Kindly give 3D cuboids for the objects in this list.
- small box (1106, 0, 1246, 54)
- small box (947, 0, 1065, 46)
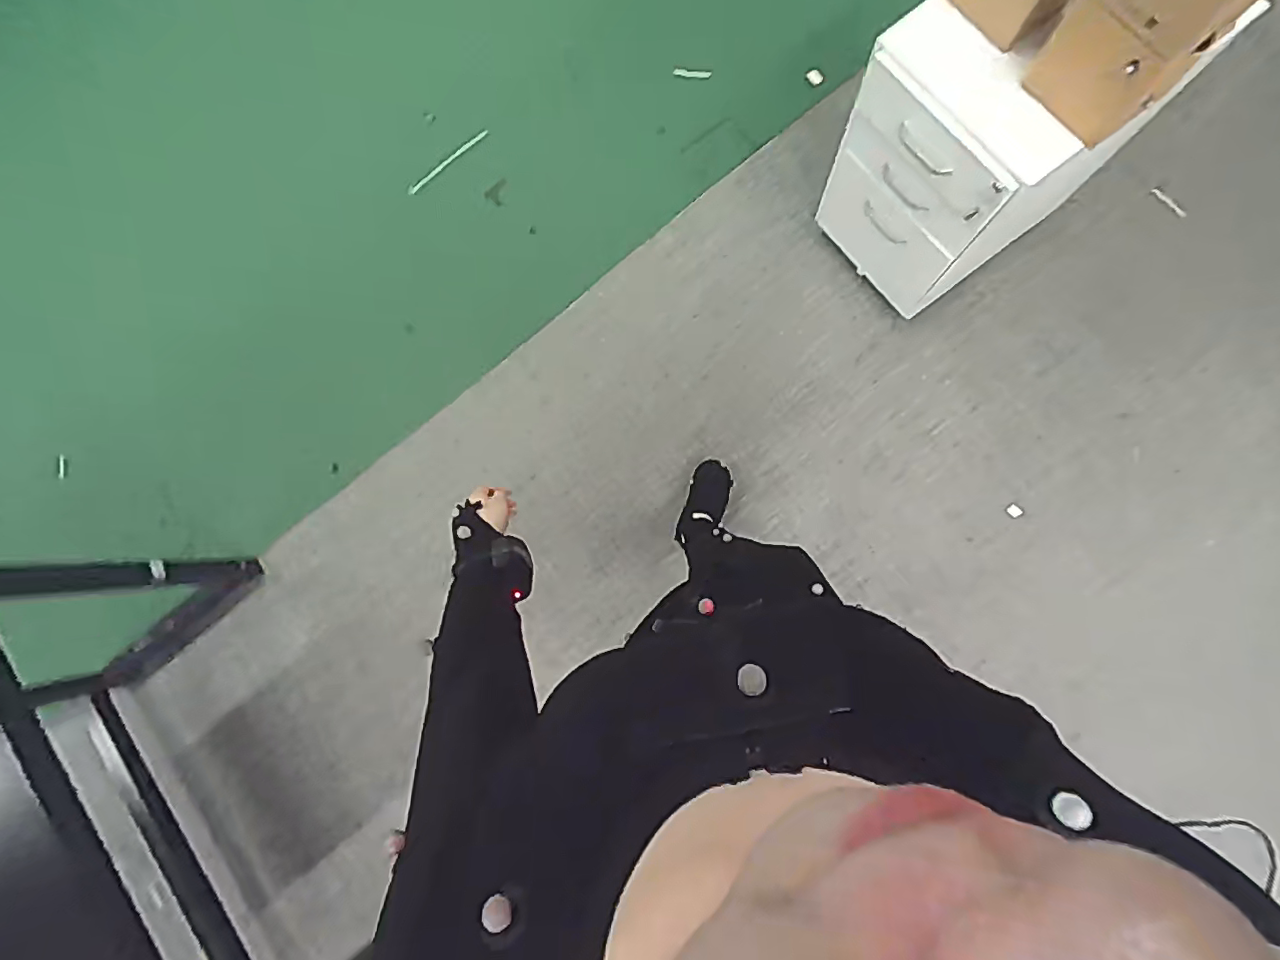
[{"bbox_3d":[0.747,-0.712,0.693,0.179,0.176,0.168,-36,81,0],"label":"small box"},{"bbox_3d":[0.640,-0.885,0.892,0.168,0.176,0.179,-38,82,1],"label":"small box"}]
